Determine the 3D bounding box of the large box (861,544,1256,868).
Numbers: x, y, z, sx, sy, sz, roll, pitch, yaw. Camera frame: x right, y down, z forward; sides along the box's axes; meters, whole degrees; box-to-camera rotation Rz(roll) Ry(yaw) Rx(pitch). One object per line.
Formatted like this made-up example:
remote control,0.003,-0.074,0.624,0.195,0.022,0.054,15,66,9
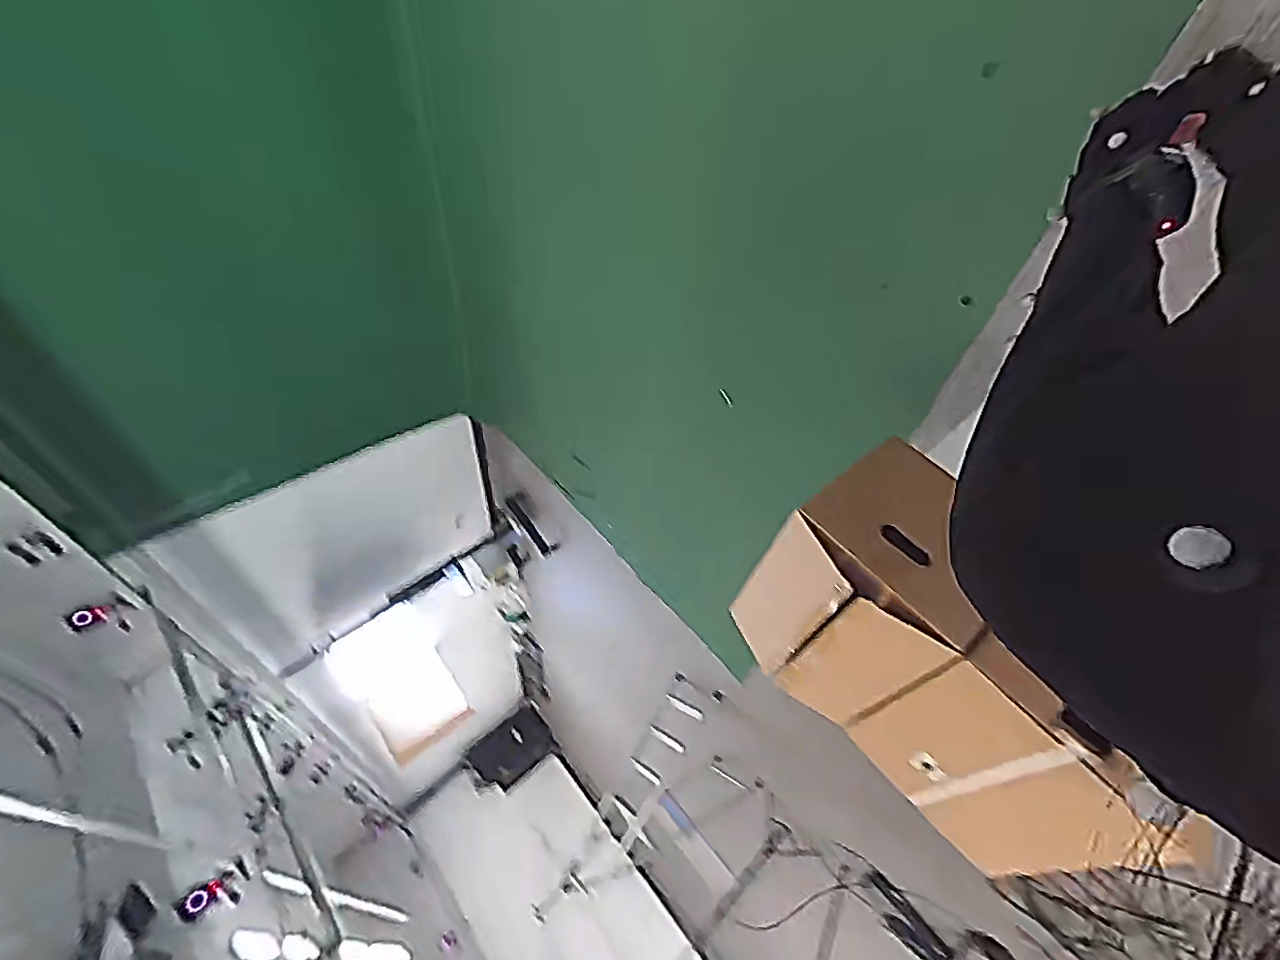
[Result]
large box,0.664,0.386,0.919,0.320,0.320,0.408,45,149,25
